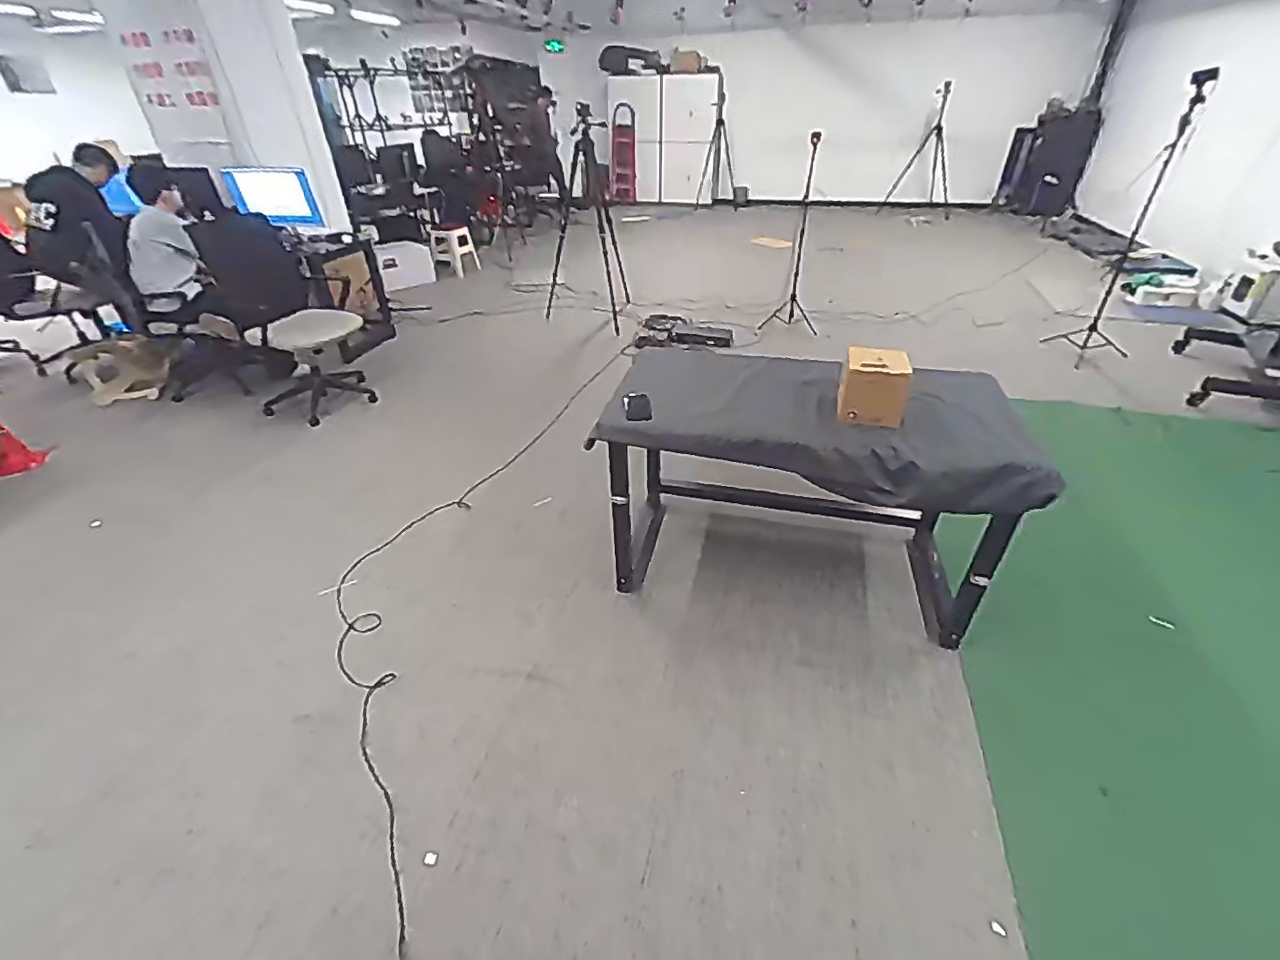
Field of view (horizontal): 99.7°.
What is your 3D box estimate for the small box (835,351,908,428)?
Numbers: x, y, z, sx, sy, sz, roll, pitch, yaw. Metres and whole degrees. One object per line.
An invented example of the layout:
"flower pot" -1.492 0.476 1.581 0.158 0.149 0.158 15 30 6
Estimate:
"small box" 0.677 -0.267 1.596 0.168 0.176 0.179 9 35 13
